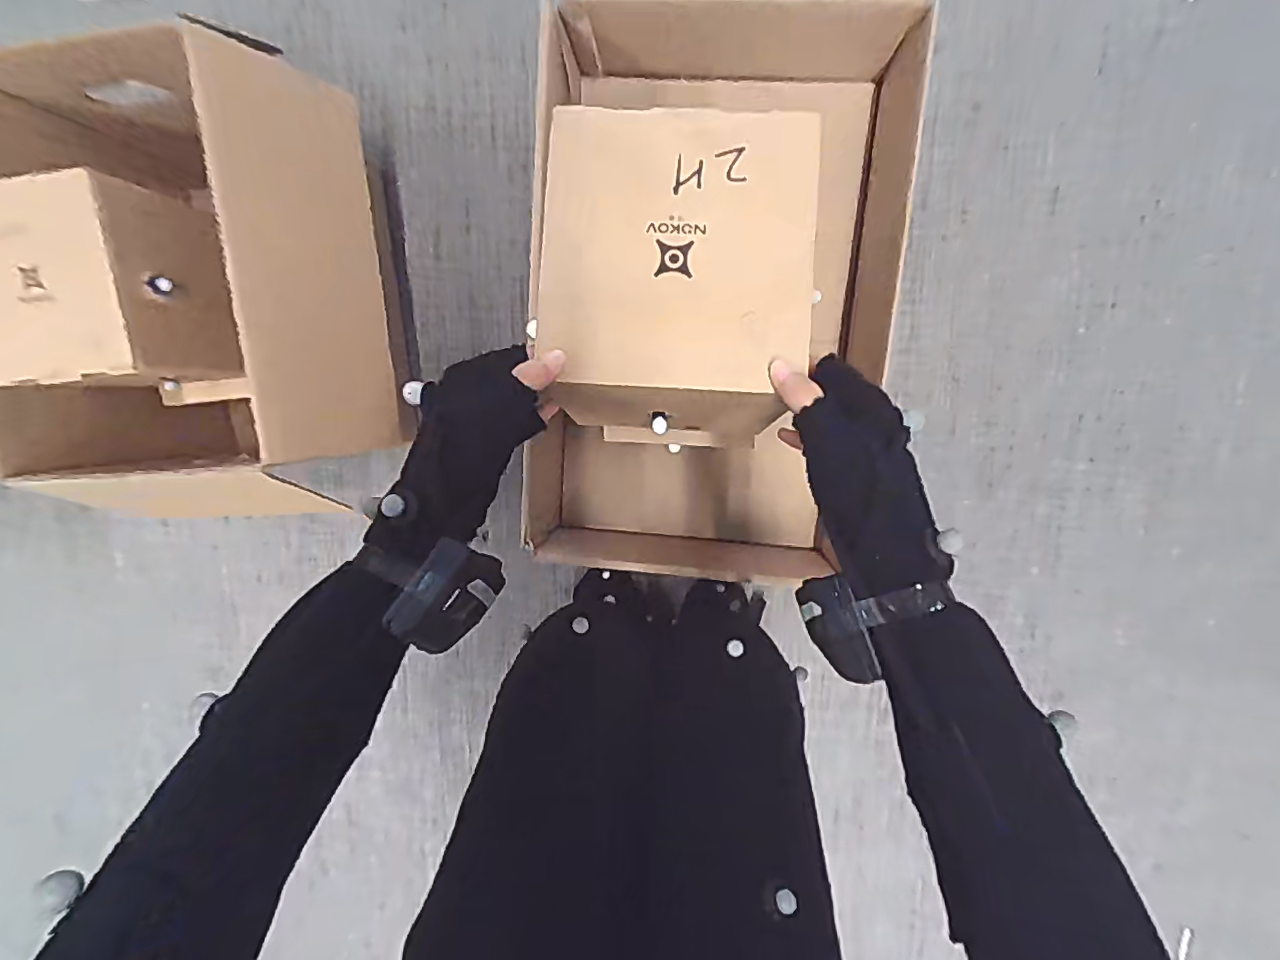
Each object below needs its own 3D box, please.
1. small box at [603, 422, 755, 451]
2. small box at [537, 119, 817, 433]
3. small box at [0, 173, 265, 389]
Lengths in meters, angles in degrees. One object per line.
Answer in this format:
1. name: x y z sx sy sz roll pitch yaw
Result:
1. small box: 0.052 -0.131 0.651 0.168 0.176 0.179 4 98 5
2. small box: 0.027 -0.134 0.413 0.168 0.176 0.179 3 87 3
3. small box: -0.536 -0.191 0.567 0.168 0.176 0.179 -4 99 6
